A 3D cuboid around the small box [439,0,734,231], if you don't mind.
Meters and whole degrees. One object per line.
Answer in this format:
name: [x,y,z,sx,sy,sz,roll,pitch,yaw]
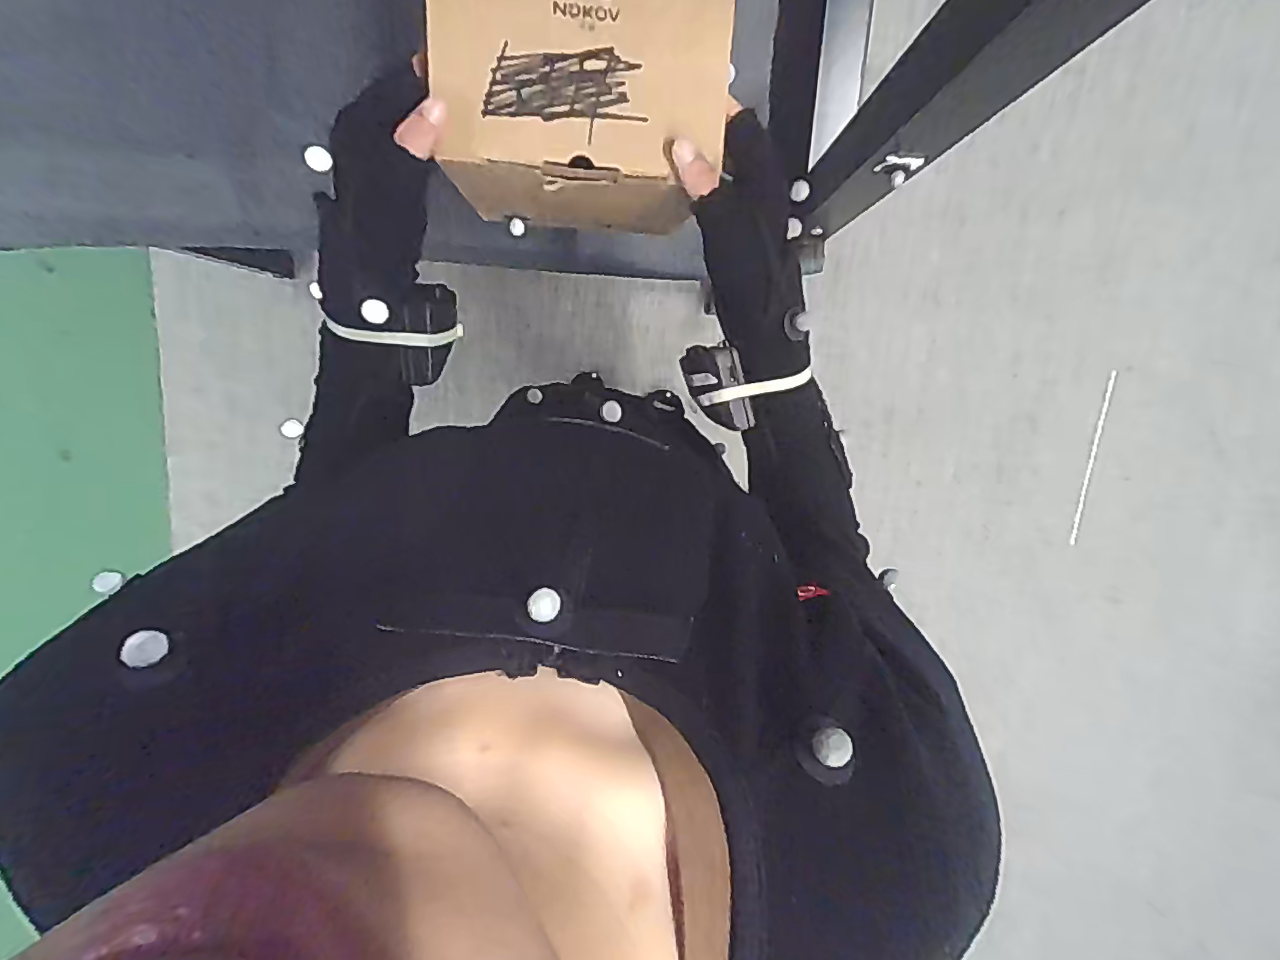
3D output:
small box: [-0.035,-0.288,0.379,0.168,0.176,0.179,3,102,-8]
